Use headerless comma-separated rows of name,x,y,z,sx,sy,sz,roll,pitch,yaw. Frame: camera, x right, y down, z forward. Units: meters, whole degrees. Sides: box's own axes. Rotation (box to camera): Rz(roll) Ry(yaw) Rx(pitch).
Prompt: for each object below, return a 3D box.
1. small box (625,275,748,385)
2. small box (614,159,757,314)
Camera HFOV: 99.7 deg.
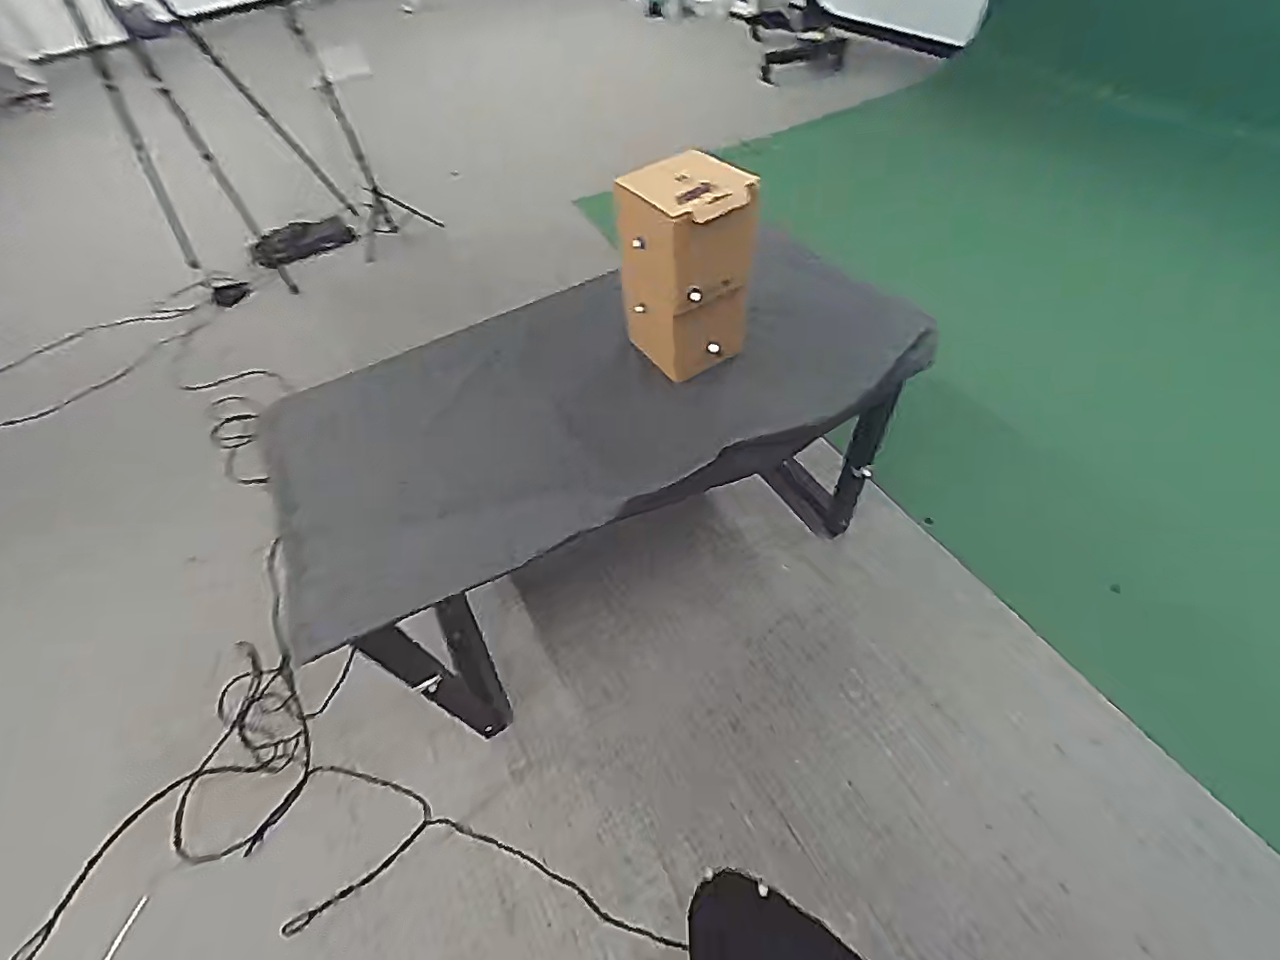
small box,0.089,-0.318,1.058,0.168,0.176,0.179,-29,55,-14
small box,0.079,-0.407,0.919,0.168,0.176,0.179,-30,54,-15
